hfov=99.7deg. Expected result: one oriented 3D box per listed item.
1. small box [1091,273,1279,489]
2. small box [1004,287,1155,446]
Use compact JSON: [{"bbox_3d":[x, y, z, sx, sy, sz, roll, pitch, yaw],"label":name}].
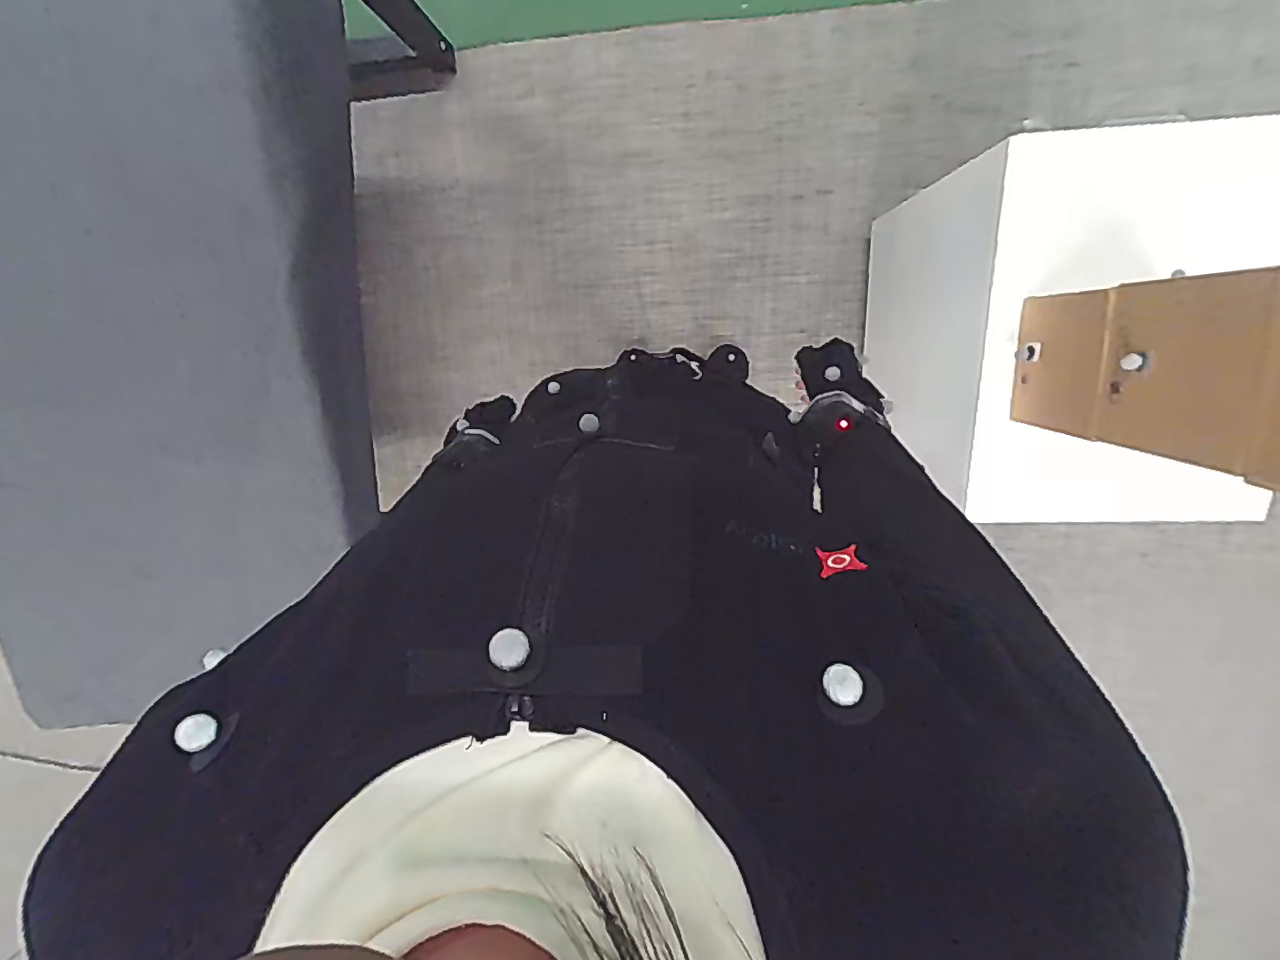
[{"bbox_3d":[0.563,-0.098,0.483,0.179,0.176,0.168,-5,104,6],"label":"small box"},{"bbox_3d":[0.576,-0.139,0.641,0.179,0.176,0.168,-2,104,8],"label":"small box"}]
